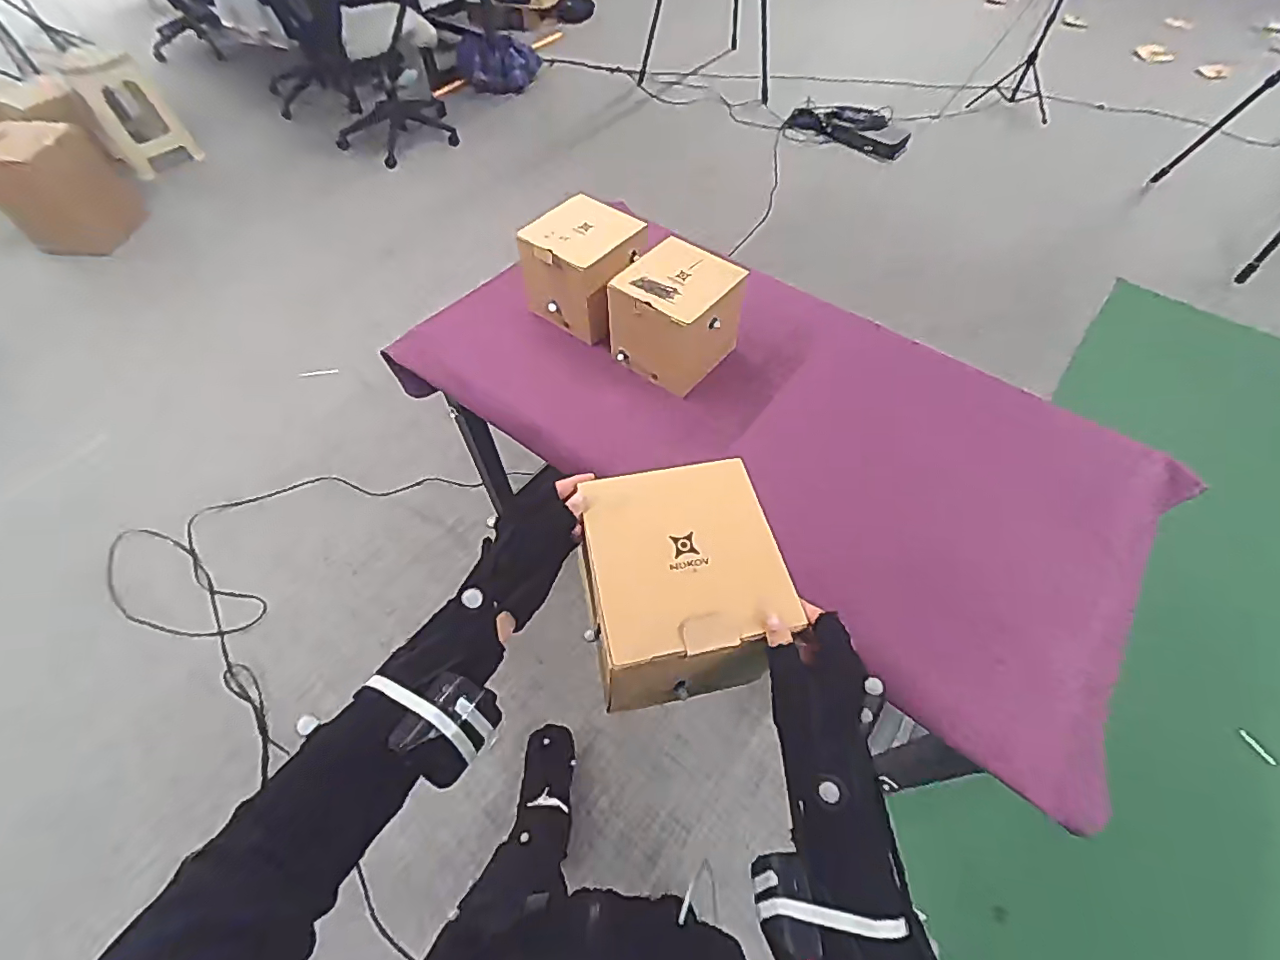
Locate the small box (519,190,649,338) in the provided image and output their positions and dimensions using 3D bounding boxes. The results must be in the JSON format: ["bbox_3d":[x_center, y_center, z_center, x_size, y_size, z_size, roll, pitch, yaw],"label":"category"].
[{"bbox_3d":[-0.101,-0.407,1.026,0.168,0.176,0.179,34,63,21],"label":"small box"}]

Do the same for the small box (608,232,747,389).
[{"bbox_3d":[0.064,-0.293,0.951,0.168,0.176,0.179,34,63,20],"label":"small box"}]
